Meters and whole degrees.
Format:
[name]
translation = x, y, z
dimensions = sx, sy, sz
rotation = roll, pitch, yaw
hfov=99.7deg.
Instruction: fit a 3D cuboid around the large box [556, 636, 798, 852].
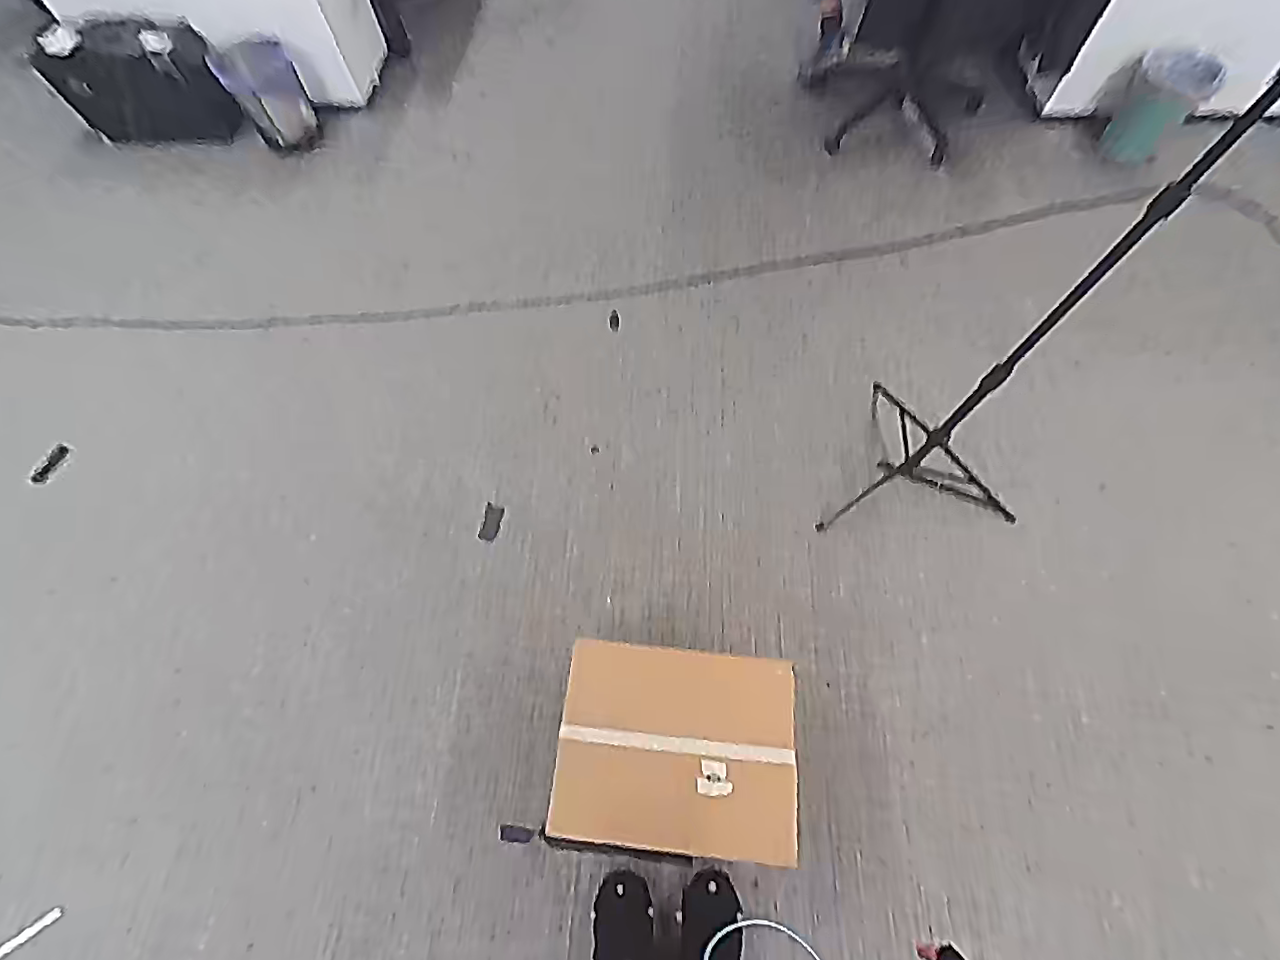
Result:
[large box]
translation = 0.072, 0.511, 1.074
dimensions = 0.408, 0.320, 0.320
rotation = 5, 65, 3
